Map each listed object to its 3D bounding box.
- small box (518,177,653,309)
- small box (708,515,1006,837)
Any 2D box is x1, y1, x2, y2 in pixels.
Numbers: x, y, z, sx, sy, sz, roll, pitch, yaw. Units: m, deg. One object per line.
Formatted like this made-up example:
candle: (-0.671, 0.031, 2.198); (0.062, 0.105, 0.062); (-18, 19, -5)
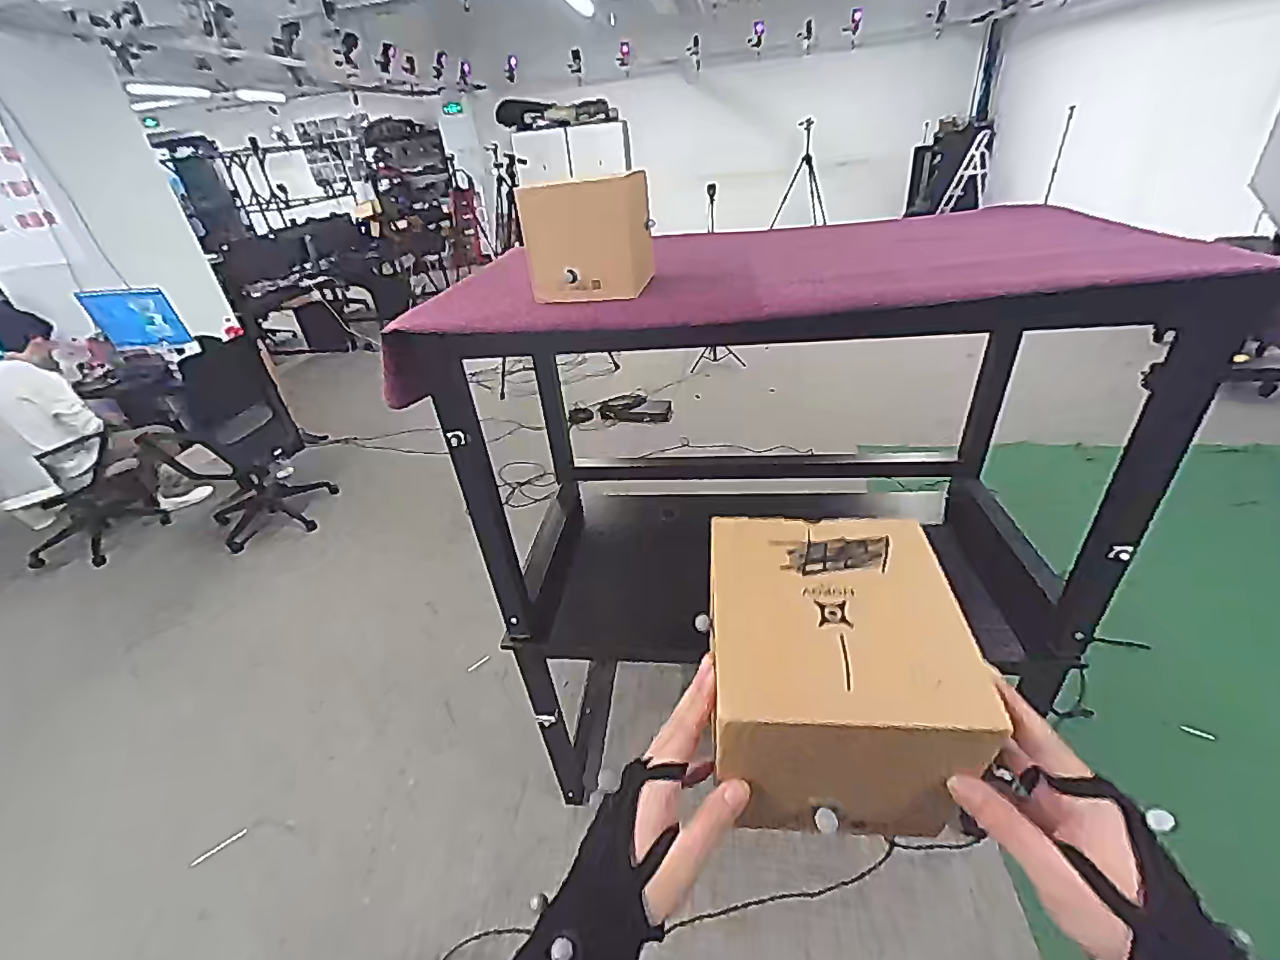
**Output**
small box: (-0.075, -0.380, 0.869); (0.168, 0.176, 0.179); (1, 32, 13)
small box: (0.138, 0.147, 0.425); (0.168, 0.176, 0.179); (-1, 39, 7)
